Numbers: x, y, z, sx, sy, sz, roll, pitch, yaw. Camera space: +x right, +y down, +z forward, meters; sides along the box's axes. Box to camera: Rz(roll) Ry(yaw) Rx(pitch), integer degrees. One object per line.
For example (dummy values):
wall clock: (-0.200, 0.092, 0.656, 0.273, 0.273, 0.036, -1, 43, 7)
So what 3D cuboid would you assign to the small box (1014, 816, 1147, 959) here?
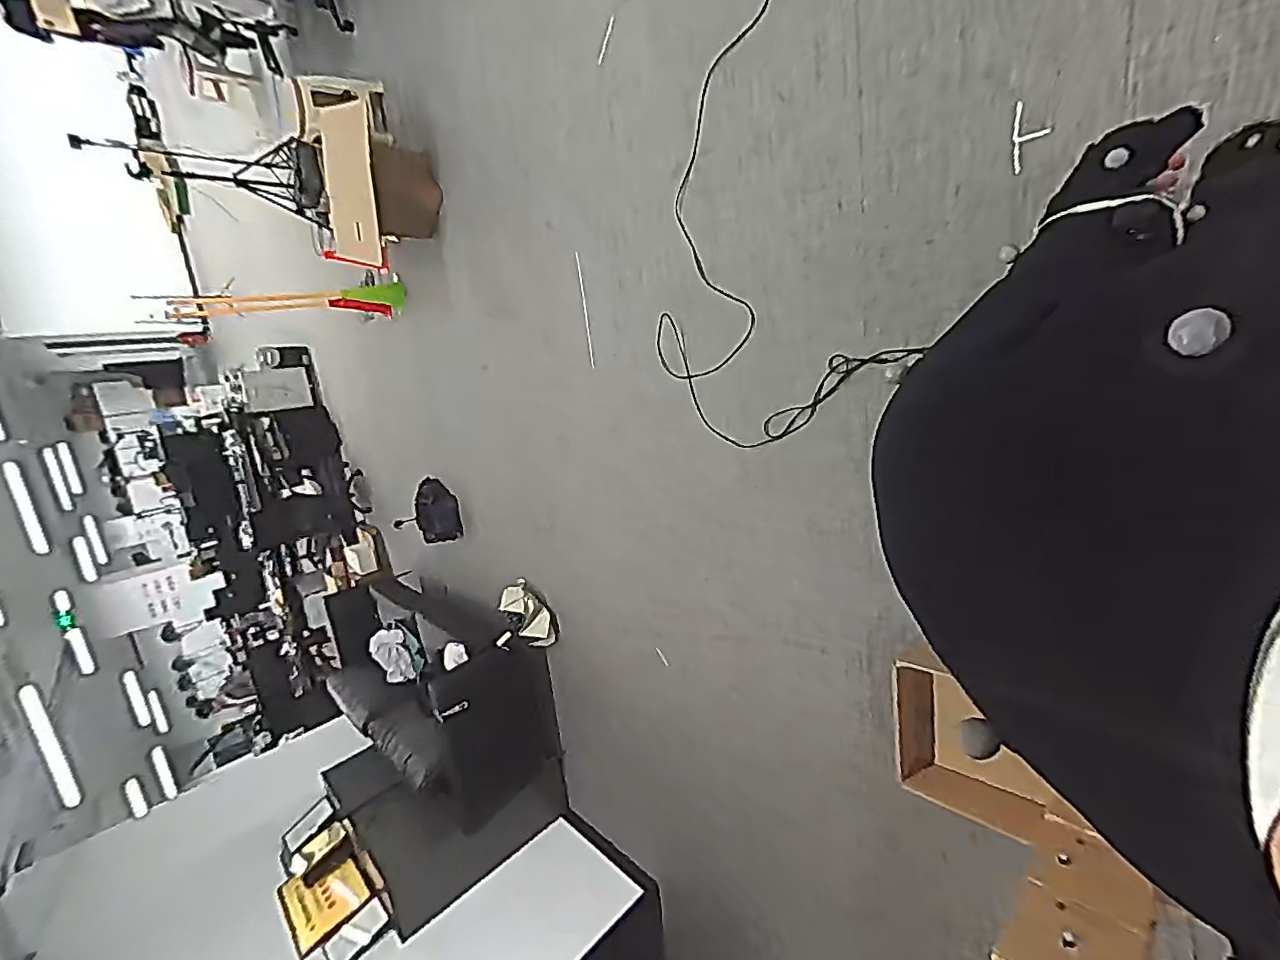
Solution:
small box: (0.803, 0.768, 0.989, 0.168, 0.176, 0.179, 4, 108, 48)

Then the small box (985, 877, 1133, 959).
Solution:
small box: (0.685, 0.813, 0.885, 0.168, 0.176, 0.179, 4, 107, 49)

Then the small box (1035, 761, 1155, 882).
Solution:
small box: (0.918, 0.721, 1.094, 0.168, 0.176, 0.179, 6, 109, 47)
